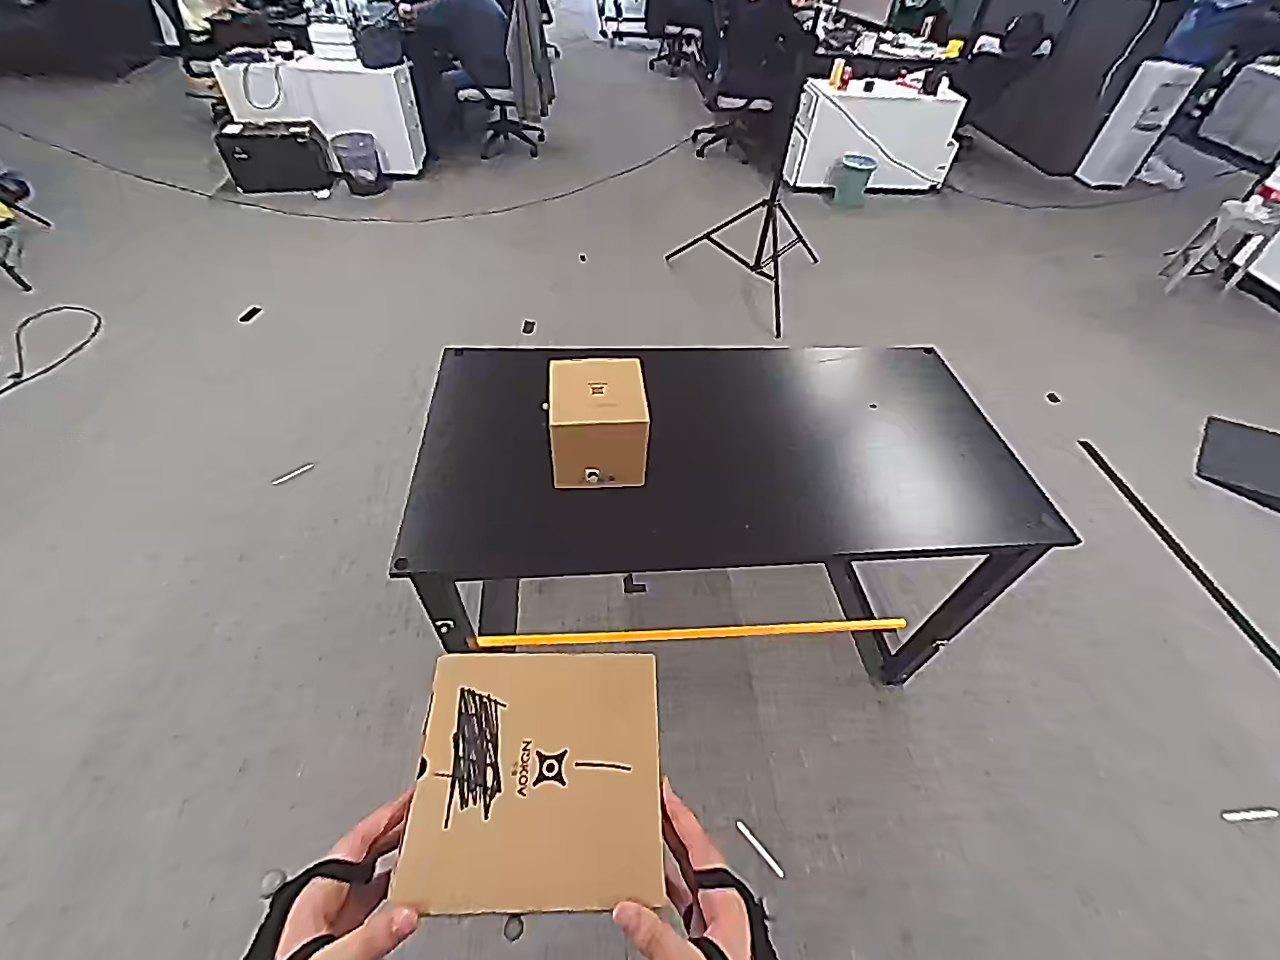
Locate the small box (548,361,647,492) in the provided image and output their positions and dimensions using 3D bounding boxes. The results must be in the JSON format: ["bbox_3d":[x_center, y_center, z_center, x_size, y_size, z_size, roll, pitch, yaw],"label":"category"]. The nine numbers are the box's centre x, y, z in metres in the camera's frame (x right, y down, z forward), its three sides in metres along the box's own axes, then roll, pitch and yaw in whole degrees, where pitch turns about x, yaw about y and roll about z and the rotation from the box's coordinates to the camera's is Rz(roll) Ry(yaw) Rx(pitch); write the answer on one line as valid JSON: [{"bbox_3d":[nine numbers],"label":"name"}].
[{"bbox_3d":[-0.082,-0.099,1.002,0.168,0.176,0.179,-4,49,-6],"label":"small box"}]

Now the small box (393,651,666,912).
[{"bbox_3d":[-0.074,0.255,0.453,0.179,0.176,0.168,1,52,-3],"label":"small box"}]
